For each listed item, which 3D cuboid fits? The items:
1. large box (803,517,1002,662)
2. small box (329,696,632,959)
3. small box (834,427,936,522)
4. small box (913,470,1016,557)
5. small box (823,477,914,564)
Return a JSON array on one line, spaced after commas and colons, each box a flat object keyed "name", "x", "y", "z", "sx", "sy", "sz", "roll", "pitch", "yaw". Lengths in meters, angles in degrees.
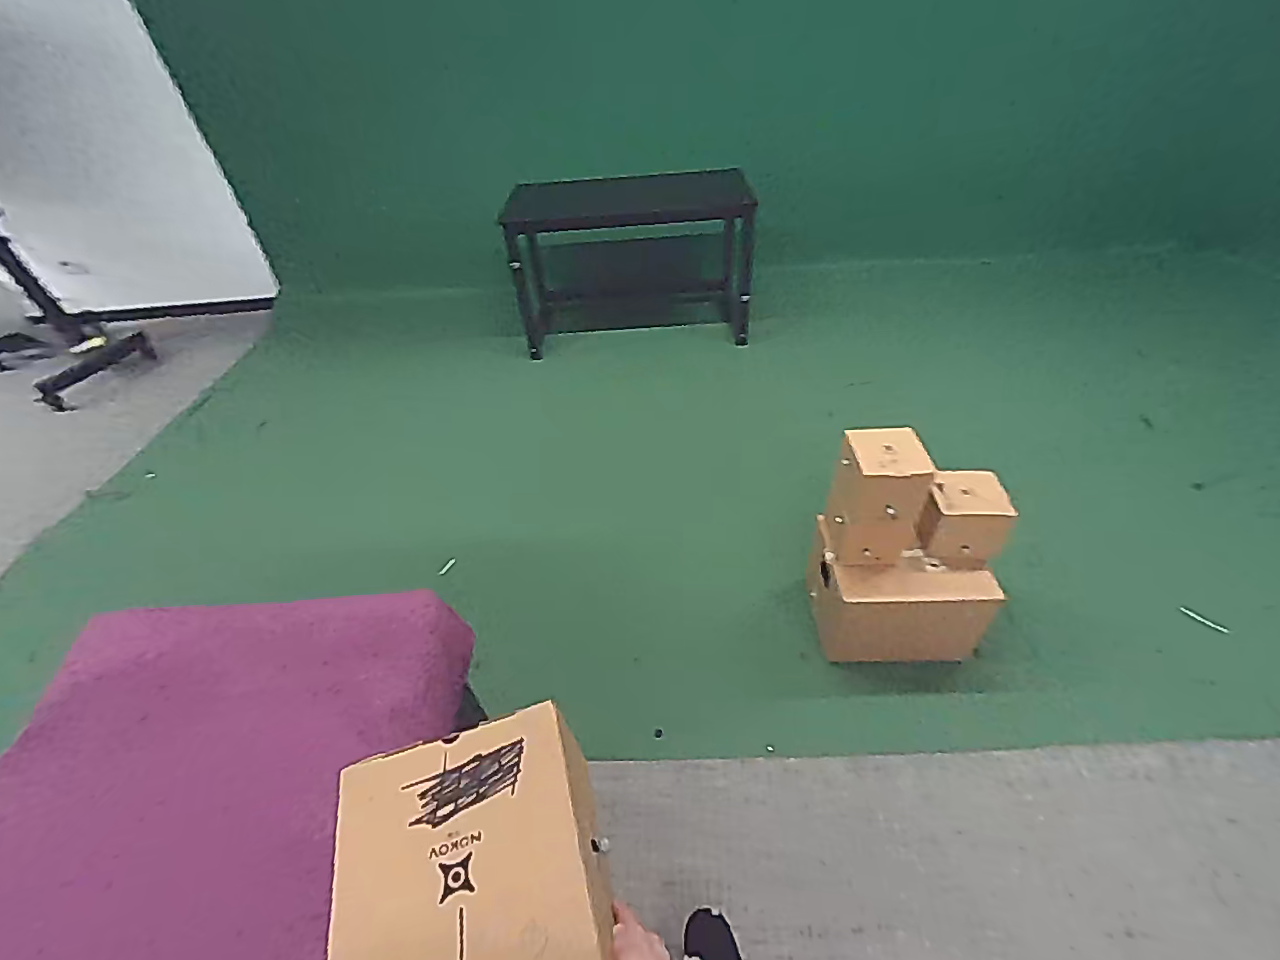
[{"name": "large box", "x": 0.728, "y": 0.315, "z": 1.580, "sx": 0.408, "sy": 0.320, "sz": 0.320, "roll": -2, "pitch": 43, "yaw": 3}, {"name": "small box", "x": -0.110, "y": 0.302, "z": 0.414, "sx": 0.168, "sy": 0.176, "sz": 0.179, "roll": -15, "pitch": 48, "yaw": -7}, {"name": "small box", "x": 0.598, "y": -0.014, "z": 1.349, "sx": 0.168, "sy": 0.176, "sz": 0.179, "roll": -3, "pitch": 42, "yaw": 3}, {"name": "small box", "x": 0.854, "y": 0.091, "z": 1.448, "sx": 0.179, "sy": 0.176, "sz": 0.168, "roll": 1, "pitch": 42, "yaw": 8}, {"name": "small box", "x": 0.607, "y": 0.106, "z": 1.461, "sx": 0.168, "sy": 0.176, "sz": 0.179, "roll": -2, "pitch": 42, "yaw": 3}]
